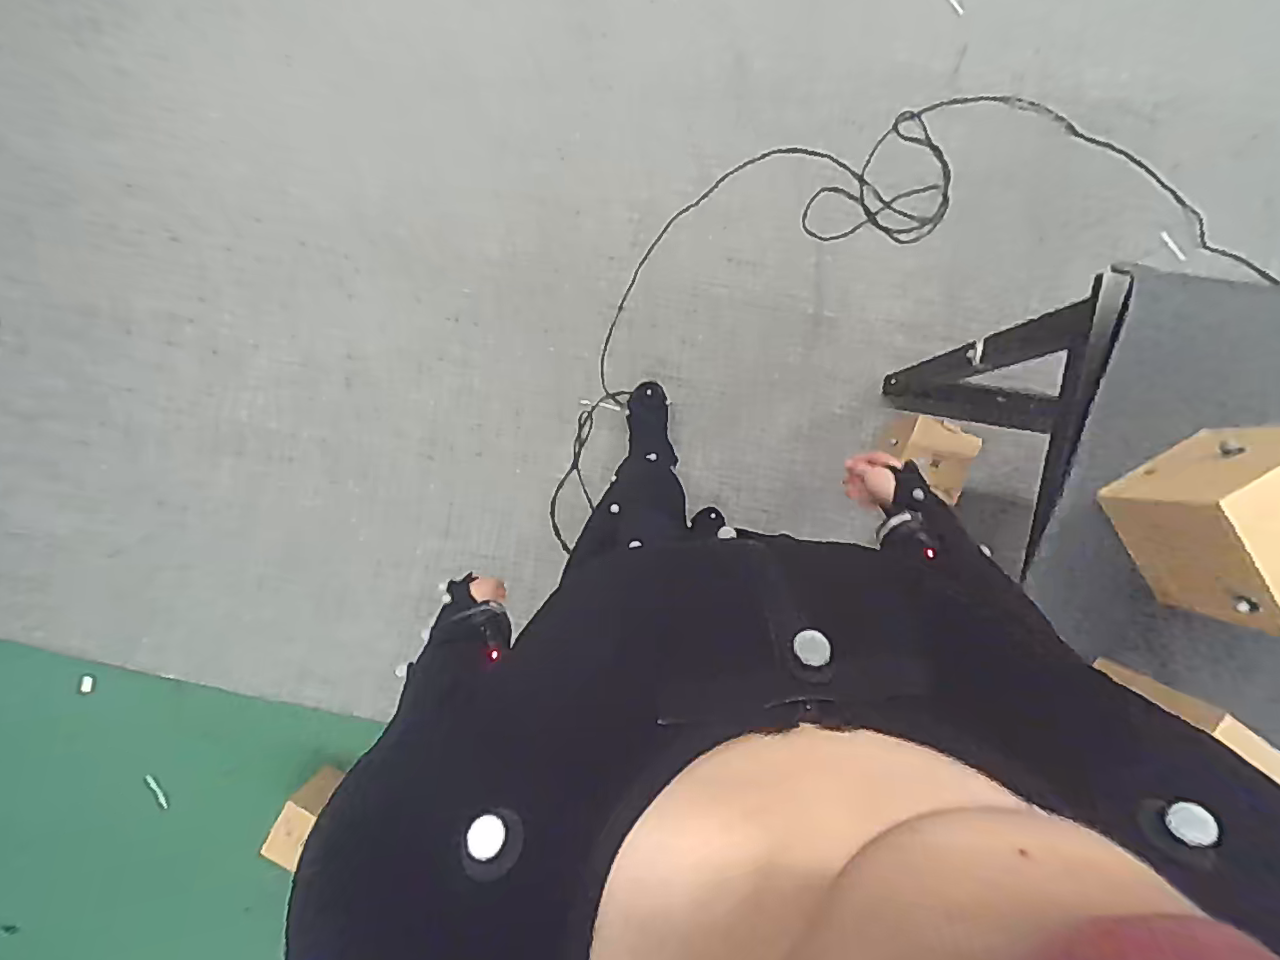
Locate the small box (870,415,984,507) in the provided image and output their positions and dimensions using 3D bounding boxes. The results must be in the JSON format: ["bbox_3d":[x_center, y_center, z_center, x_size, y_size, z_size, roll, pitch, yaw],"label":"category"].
[{"bbox_3d":[0.712,-0.045,1.363,0.168,0.176,0.179,23,91,2],"label":"small box"}]

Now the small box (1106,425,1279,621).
[{"bbox_3d":[0.720,0.047,0.637,0.168,0.176,0.179,-32,90,3],"label":"small box"}]

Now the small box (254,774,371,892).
[{"bbox_3d":[-0.866,0.932,1.448,0.179,0.176,0.168,30,92,2],"label":"small box"}]
